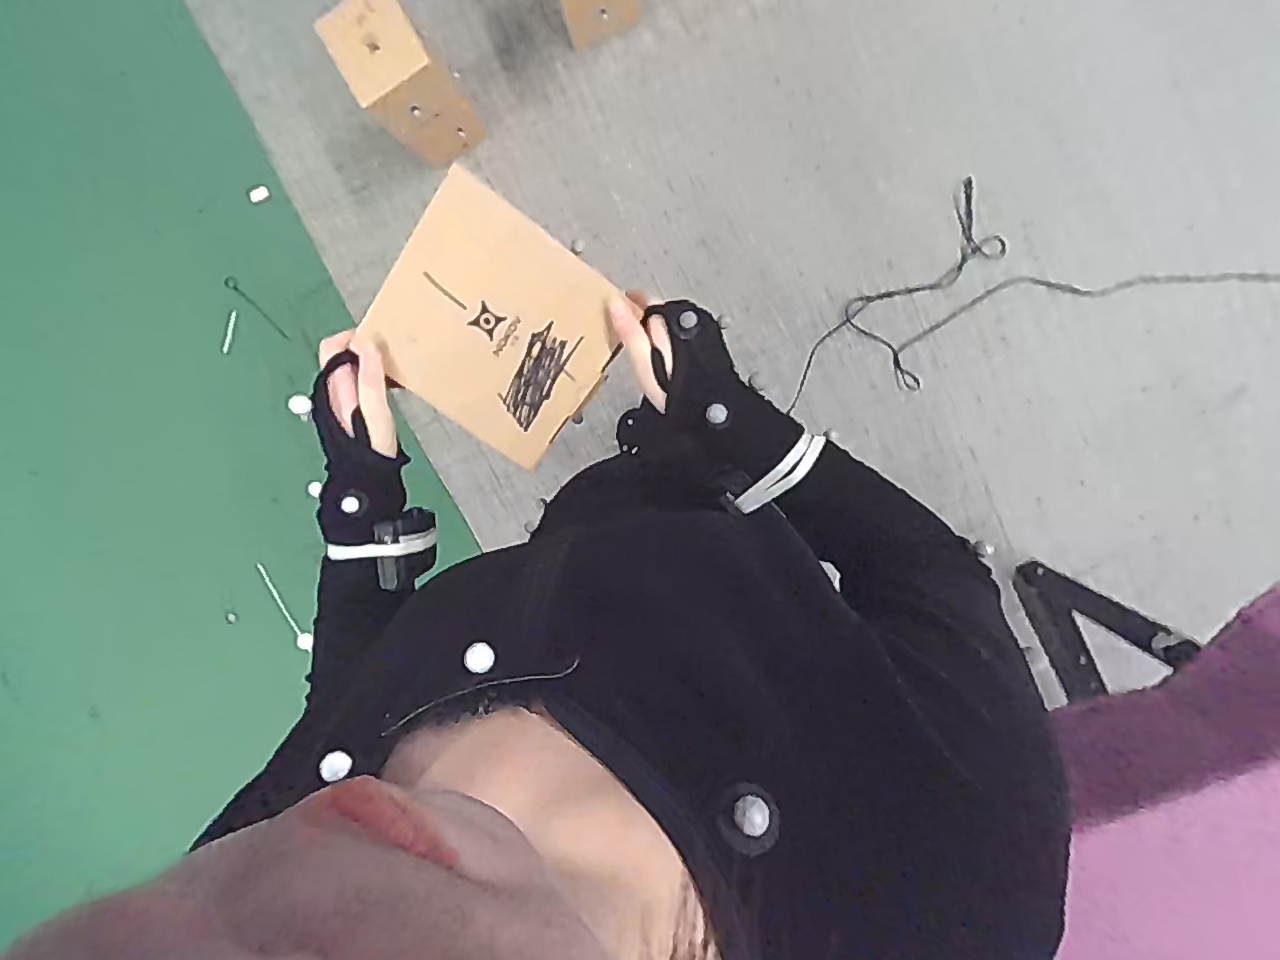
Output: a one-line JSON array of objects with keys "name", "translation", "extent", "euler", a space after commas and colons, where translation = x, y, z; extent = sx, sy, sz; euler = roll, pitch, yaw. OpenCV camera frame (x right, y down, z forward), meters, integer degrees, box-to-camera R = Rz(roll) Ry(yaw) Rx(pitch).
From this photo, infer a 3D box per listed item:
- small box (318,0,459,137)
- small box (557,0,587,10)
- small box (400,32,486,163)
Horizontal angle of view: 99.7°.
[{"name": "small box", "translation": [-0.510, -0.856, 1.126], "extent": [0.168, 0.176, 0.179], "euler": [-27, 97, 8]}, {"name": "small box", "translation": [-0.123, -1.081, 1.051], "extent": [0.179, 0.176, 0.168], "euler": [-21, 98, 8]}, {"name": "small box", "translation": [-0.496, -0.890, 1.287], "extent": [0.168, 0.176, 0.179], "euler": [-26, 97, 8]}]
